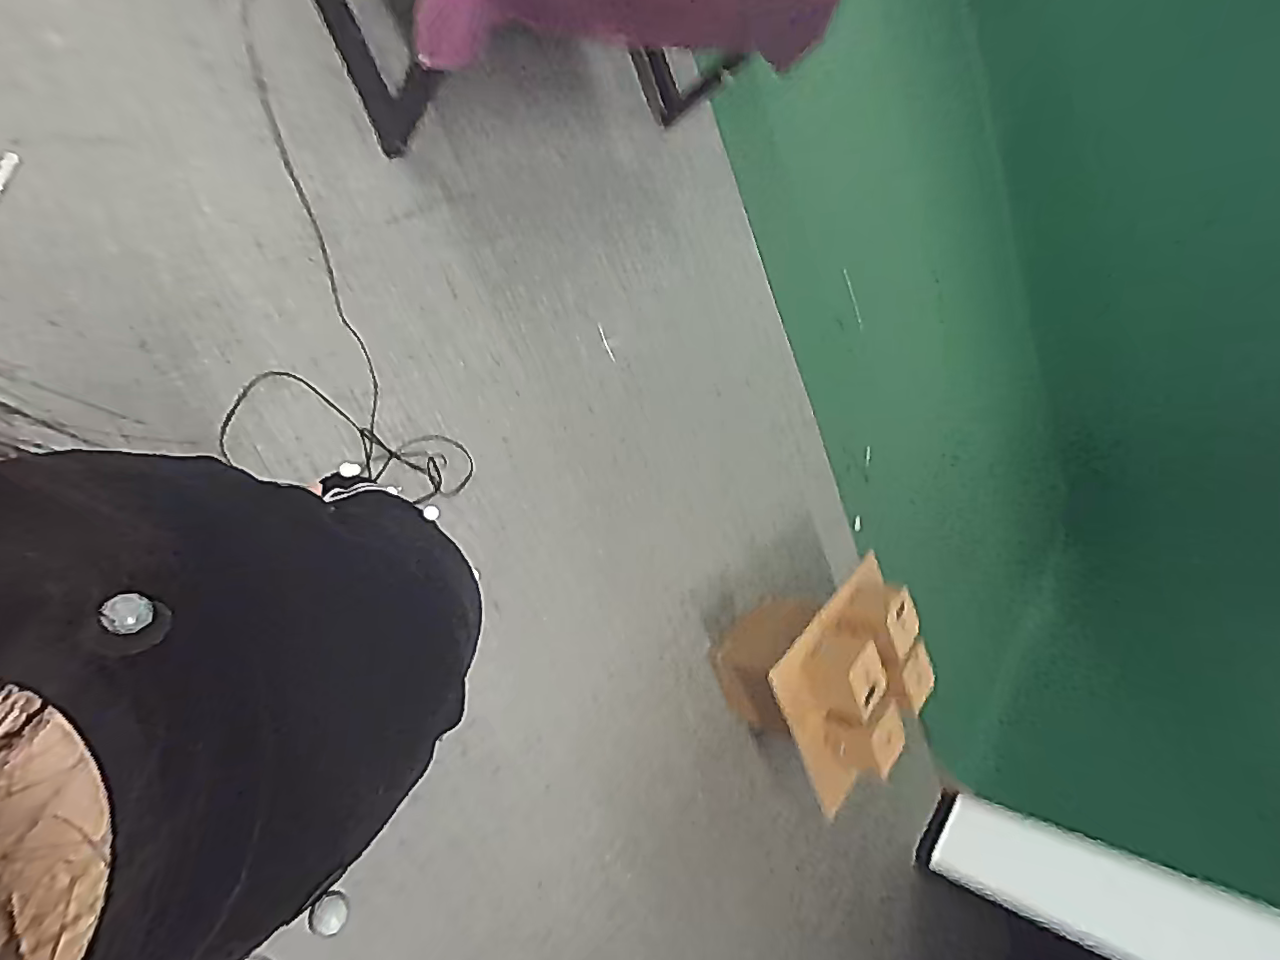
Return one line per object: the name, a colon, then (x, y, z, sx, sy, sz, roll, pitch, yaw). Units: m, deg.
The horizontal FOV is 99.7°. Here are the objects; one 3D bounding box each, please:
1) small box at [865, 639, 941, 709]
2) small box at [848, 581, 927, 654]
small box: (0.912, 0.653, 1.878, 0.168, 0.176, 0.179, -36, 110, -34)
small box: (0.834, 0.458, 1.831, 0.168, 0.176, 0.179, -39, 110, -32)
